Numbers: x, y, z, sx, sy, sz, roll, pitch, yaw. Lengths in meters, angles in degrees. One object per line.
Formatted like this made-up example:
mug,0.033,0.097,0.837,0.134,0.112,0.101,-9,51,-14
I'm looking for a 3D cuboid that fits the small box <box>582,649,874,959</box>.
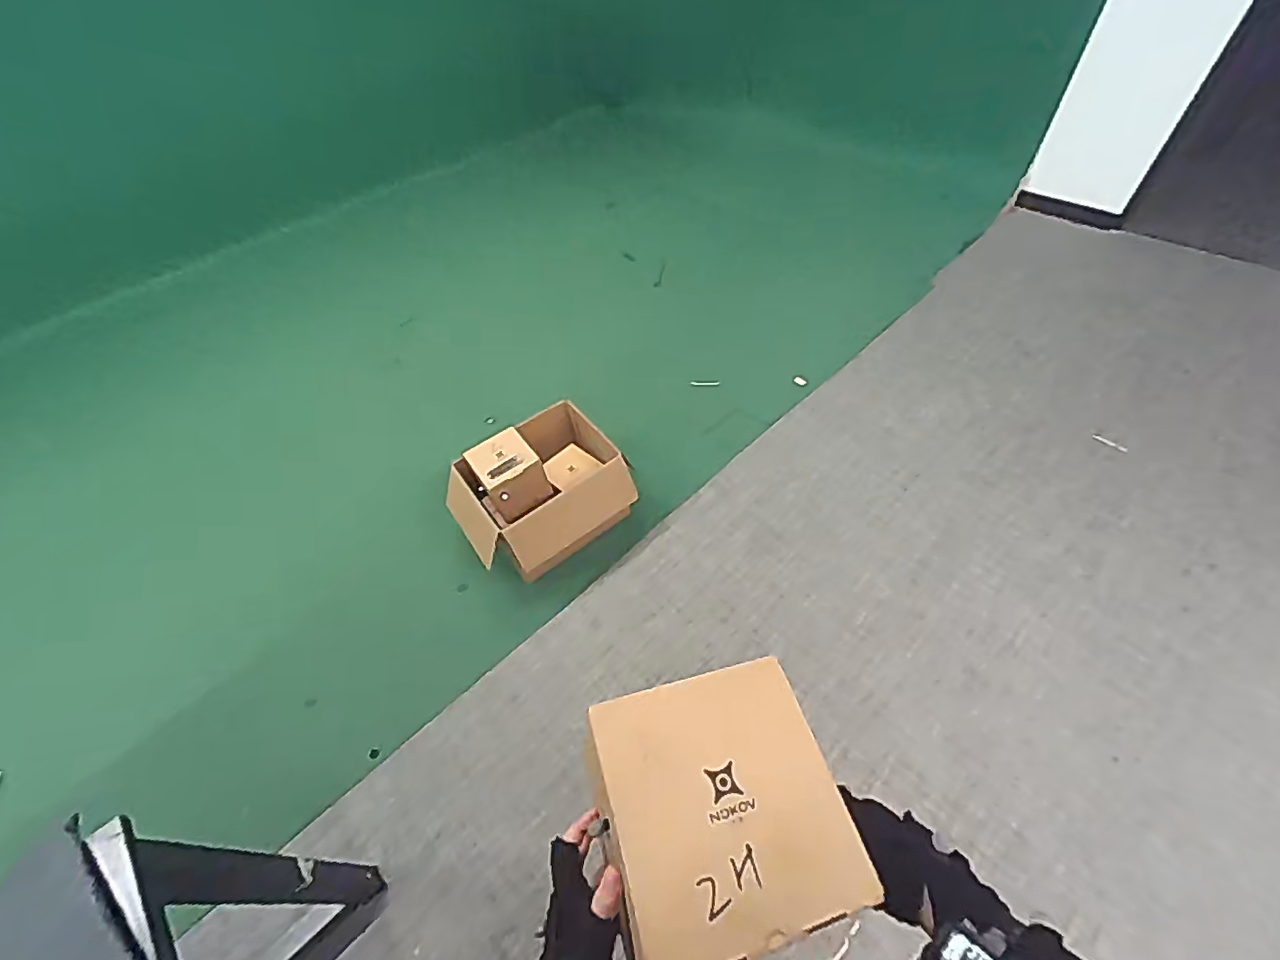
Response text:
small box,0.048,0.271,0.451,0.168,0.176,0.179,-10,53,-14
